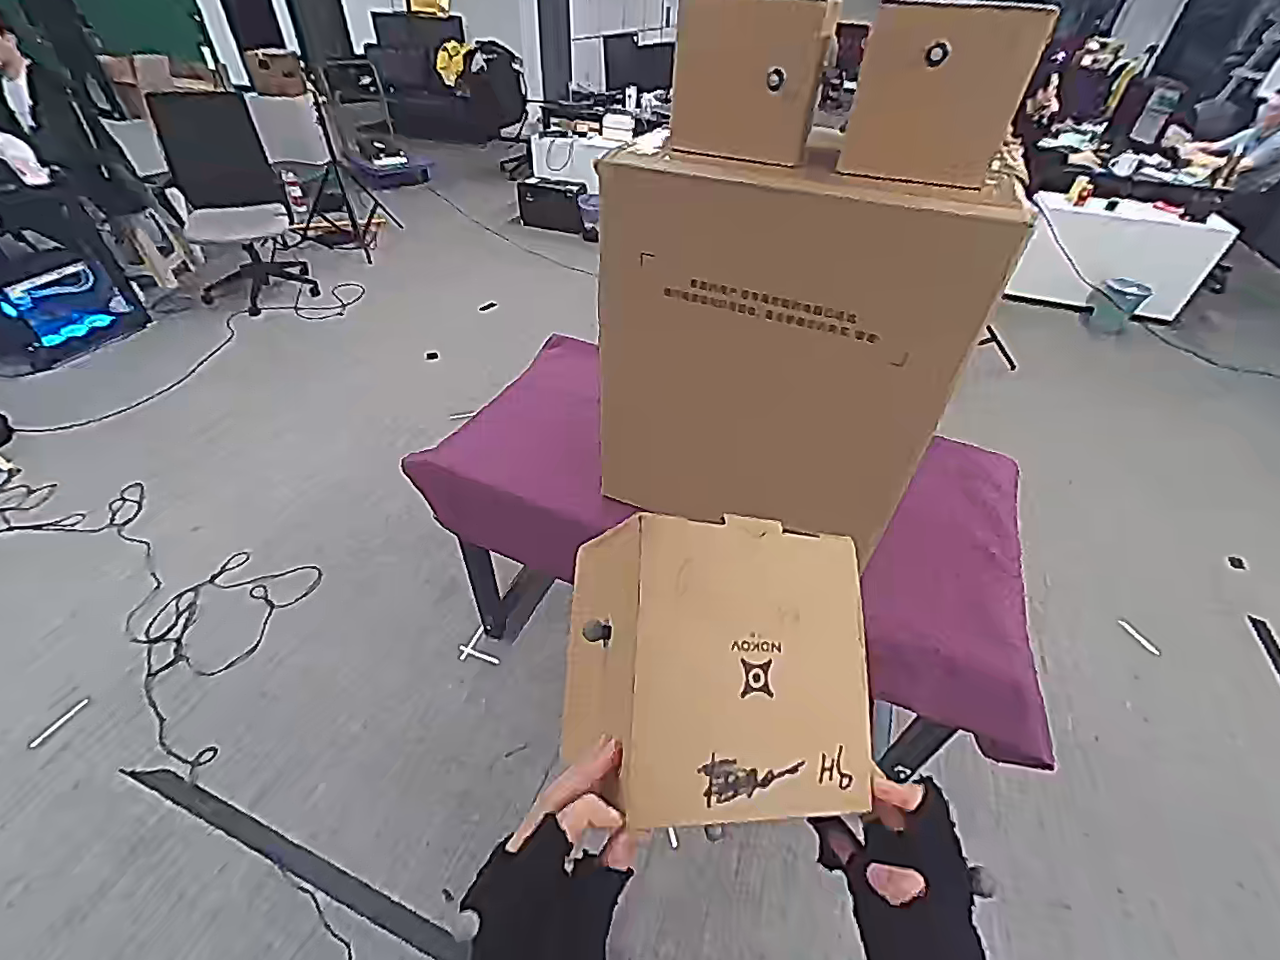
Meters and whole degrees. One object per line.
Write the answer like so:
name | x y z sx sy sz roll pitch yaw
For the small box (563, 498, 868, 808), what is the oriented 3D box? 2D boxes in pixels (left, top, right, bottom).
small box | 0.042 0.126 0.410 0.168 0.176 0.179 8 72 -18

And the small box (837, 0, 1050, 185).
small box | 0.357 -0.479 0.671 0.179 0.176 0.168 15 44 14

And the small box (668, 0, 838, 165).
small box | 0.148 -0.537 0.725 0.179 0.176 0.168 15 43 13
